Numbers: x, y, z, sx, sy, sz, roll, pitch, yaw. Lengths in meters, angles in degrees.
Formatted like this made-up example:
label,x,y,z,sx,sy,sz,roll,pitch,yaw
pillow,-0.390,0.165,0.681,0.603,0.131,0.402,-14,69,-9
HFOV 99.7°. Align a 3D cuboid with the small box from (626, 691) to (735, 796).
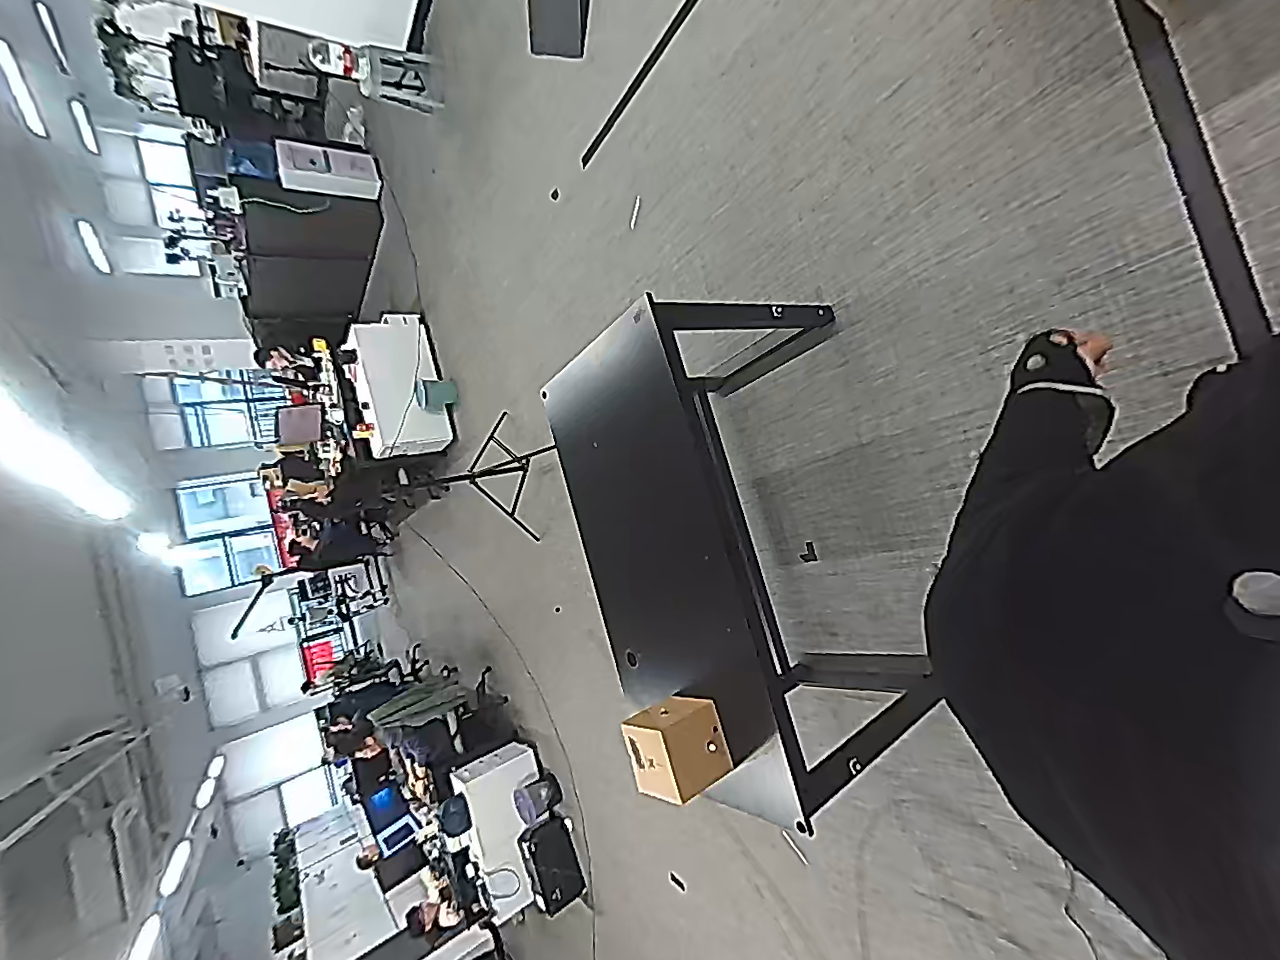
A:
label,x,y,z,sx,sy,sz,roll,pitch,yaw
small box,0.096,0.621,1.300,0.179,0.176,0.168,-26,79,53
